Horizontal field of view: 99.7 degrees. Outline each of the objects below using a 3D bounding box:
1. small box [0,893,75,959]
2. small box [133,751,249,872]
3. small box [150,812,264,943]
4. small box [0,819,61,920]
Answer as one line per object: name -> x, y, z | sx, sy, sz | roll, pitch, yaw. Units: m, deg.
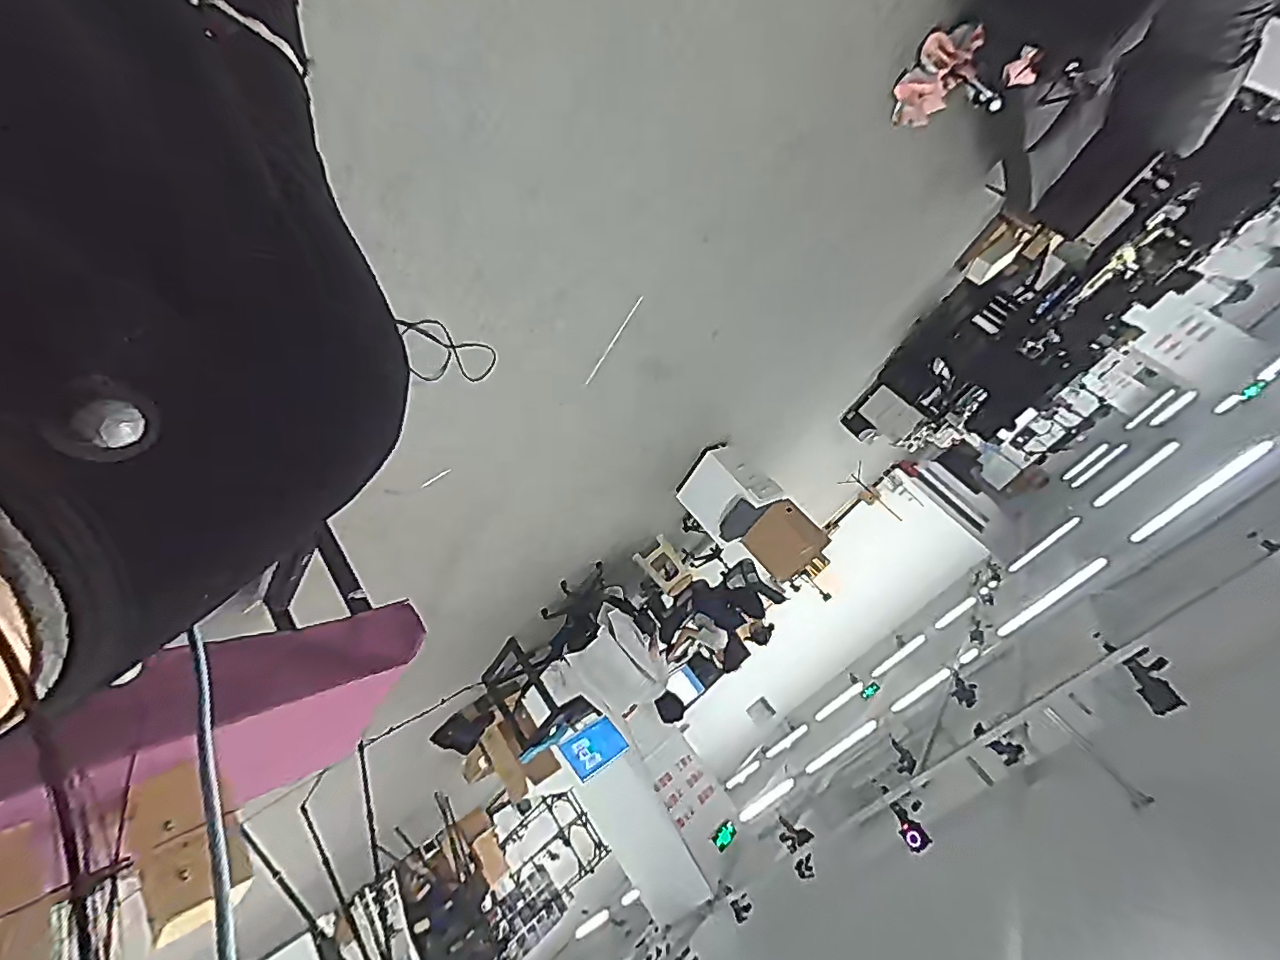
small box -> -1.210, 0.943, 1.022 | 0.179, 0.176, 0.168 | -7, 140, -54
small box -> -1.128, 0.820, 1.358 | 0.179, 0.176, 0.168 | -2, 136, -54
small box -> -1.035, 0.933, 1.288 | 0.168, 0.176, 0.179 | -3, 138, -53
small box -> -1.311, 0.831, 1.087 | 0.179, 0.176, 0.168 | -8, 140, -53
